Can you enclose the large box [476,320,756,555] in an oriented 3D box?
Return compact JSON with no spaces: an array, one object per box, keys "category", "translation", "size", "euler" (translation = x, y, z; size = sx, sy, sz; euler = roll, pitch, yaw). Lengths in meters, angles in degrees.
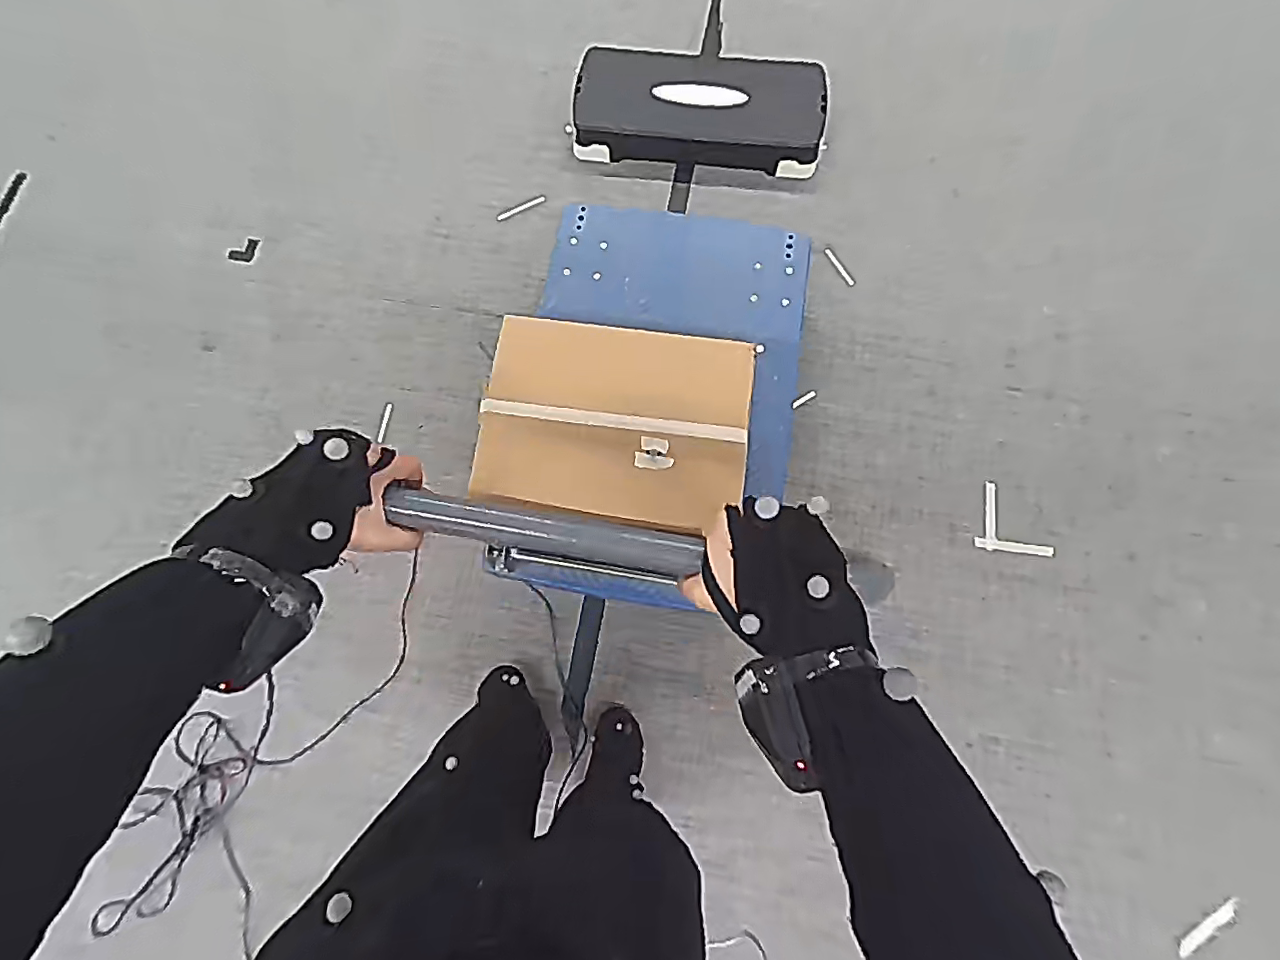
[{"category":"large box","translation":[-0.032,-0.054,0.972],"size":[0.408,0.320,0.320],"euler":[7,77,2]}]
